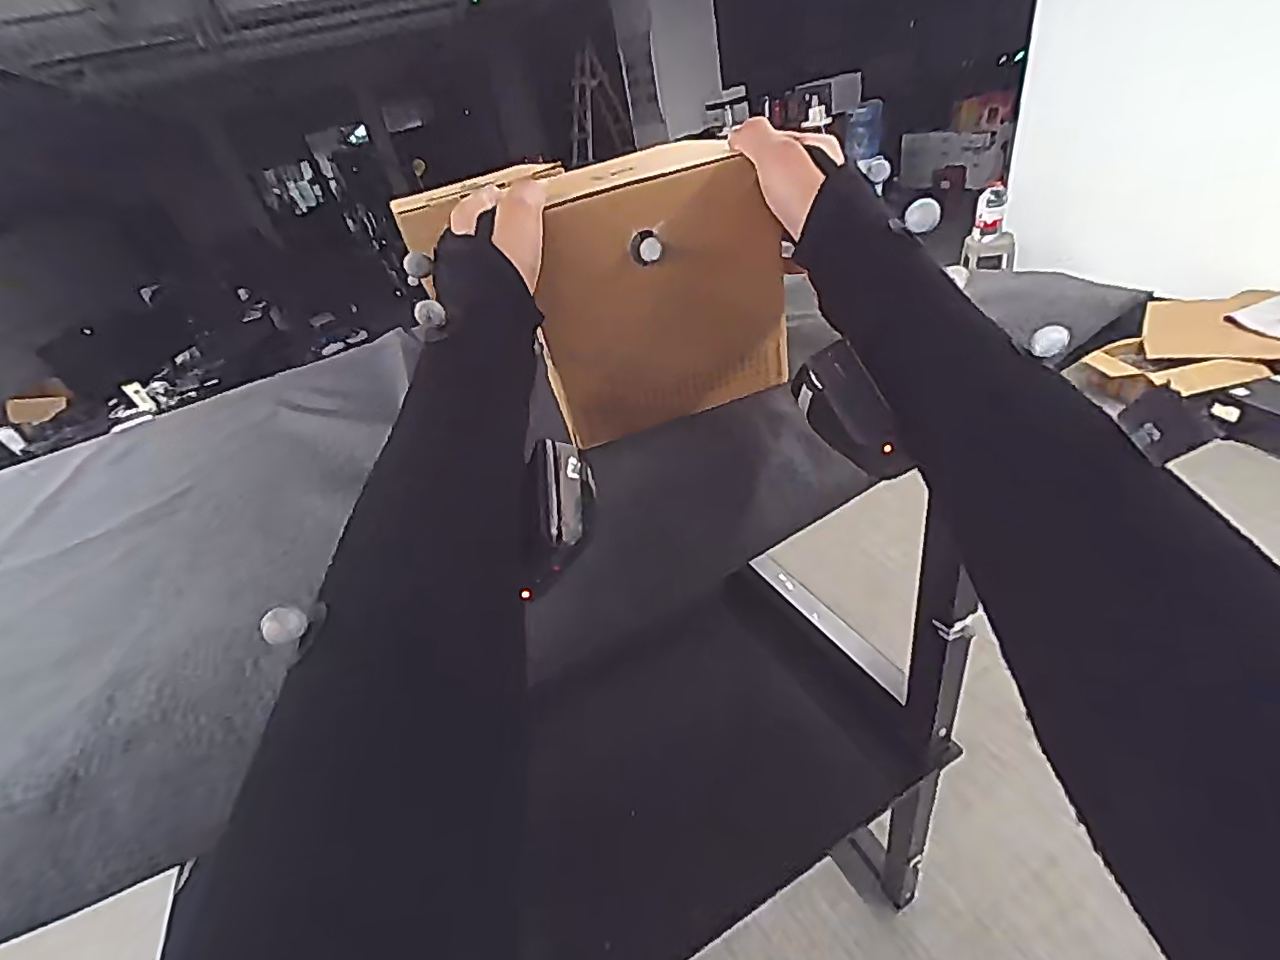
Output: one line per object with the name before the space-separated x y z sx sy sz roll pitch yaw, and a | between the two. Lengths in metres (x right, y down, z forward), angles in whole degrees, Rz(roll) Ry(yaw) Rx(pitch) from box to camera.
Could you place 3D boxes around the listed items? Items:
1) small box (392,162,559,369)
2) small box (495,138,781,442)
small box | -0.162 -0.243 0.614 0.168 0.176 0.179 -24 35 -12
small box | -0.001 -0.156 0.433 0.179 0.176 0.168 -20 35 -6
